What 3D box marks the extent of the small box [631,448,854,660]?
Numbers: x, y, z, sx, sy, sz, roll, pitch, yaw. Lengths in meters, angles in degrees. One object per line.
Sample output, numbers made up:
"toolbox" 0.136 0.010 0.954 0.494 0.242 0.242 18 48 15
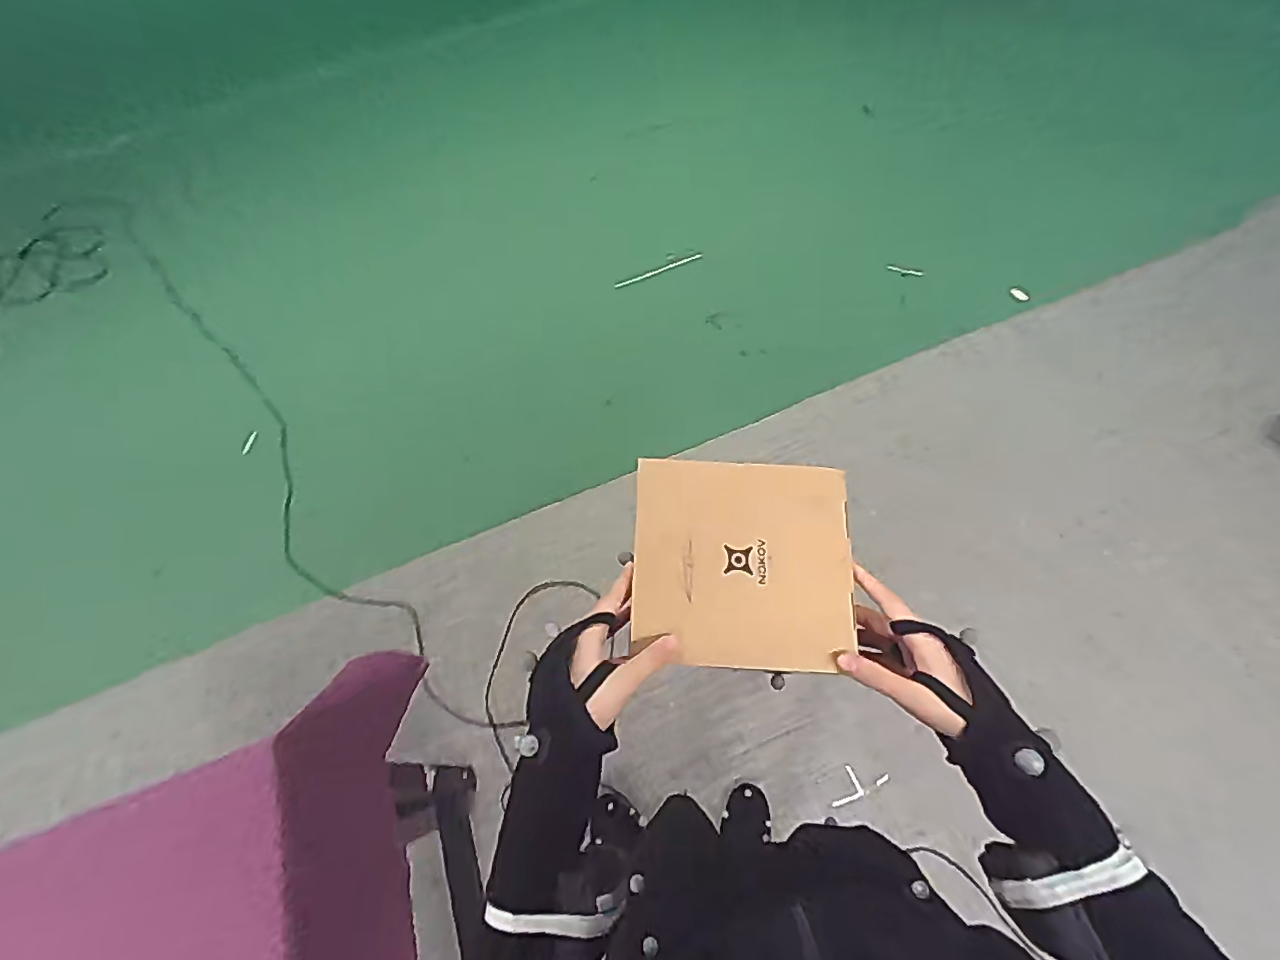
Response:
"small box" 0.084 0.081 0.519 0.179 0.176 0.168 3 70 1
